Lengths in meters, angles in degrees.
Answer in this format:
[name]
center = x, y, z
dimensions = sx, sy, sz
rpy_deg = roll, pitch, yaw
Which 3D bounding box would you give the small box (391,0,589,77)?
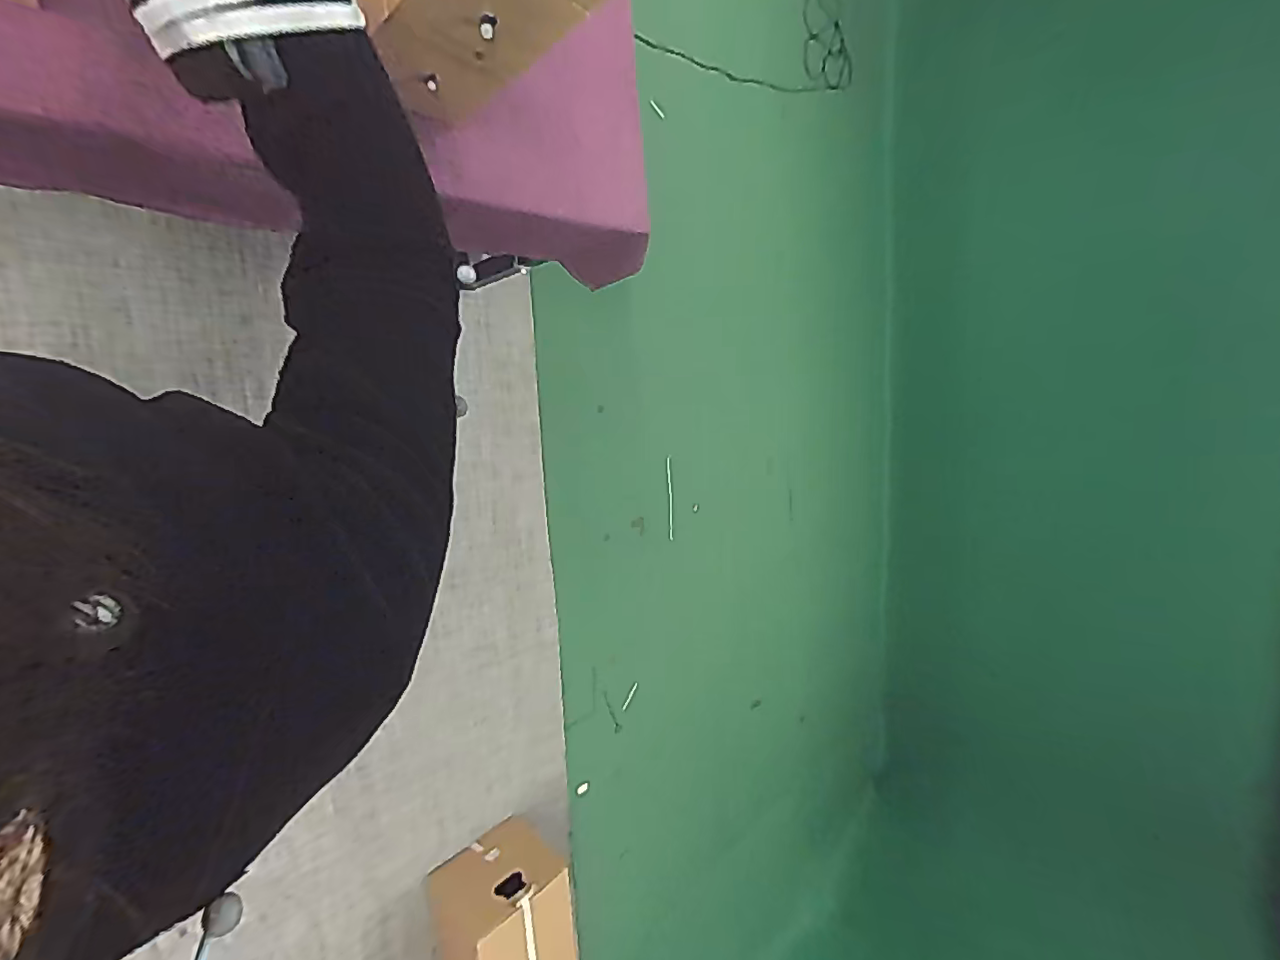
[small box]
center = -0.172, -0.602, 0.602
dimensions = 0.168, 0.176, 0.179
rpy_deg = -6, 98, -45

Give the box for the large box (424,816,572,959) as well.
[large box]
center = -0.438, 1.375, 1.683
dimensions = 0.320, 0.320, 0.408
rpy_deg = -13, 104, -45
